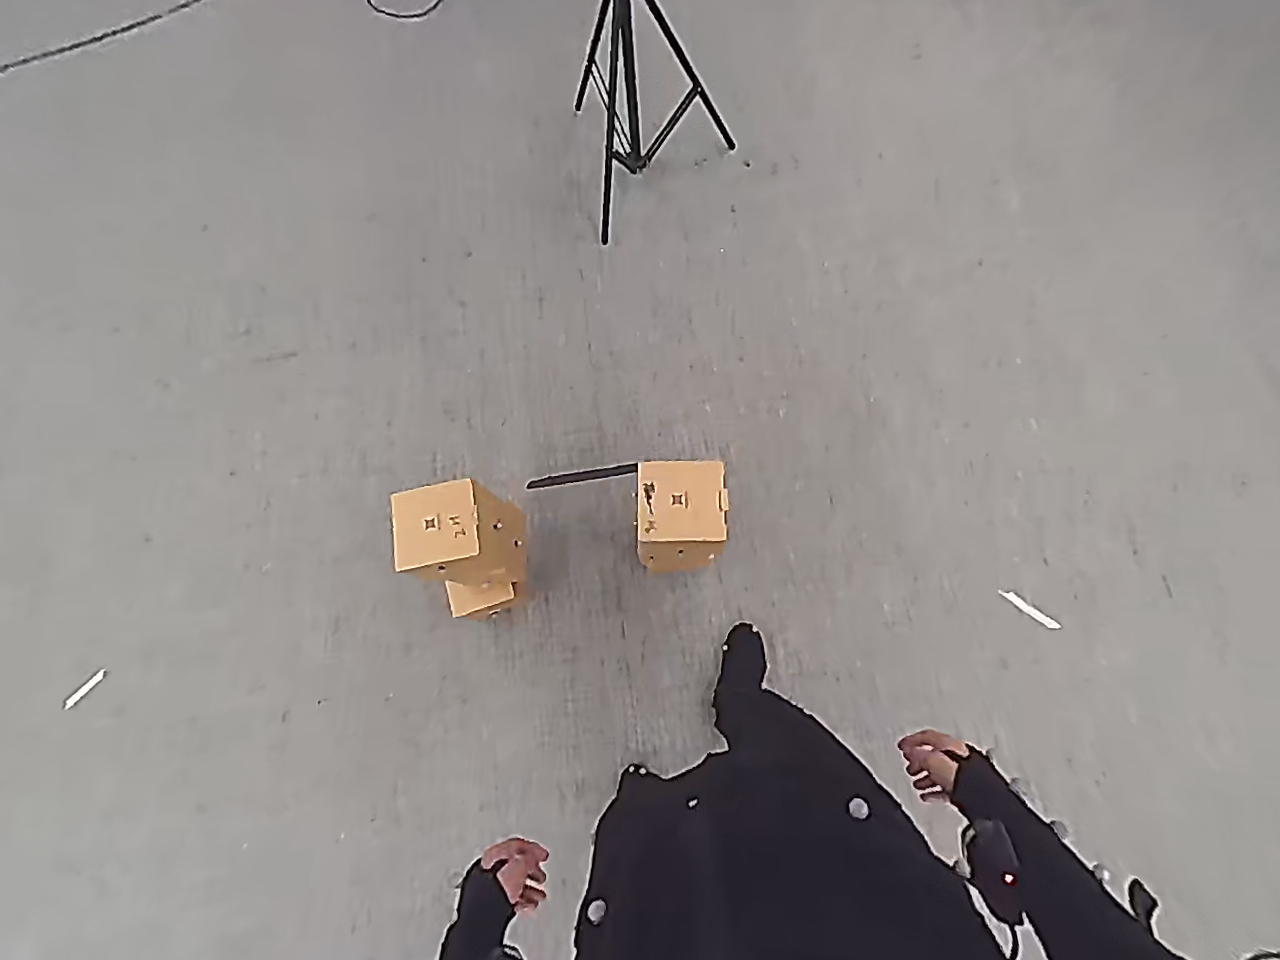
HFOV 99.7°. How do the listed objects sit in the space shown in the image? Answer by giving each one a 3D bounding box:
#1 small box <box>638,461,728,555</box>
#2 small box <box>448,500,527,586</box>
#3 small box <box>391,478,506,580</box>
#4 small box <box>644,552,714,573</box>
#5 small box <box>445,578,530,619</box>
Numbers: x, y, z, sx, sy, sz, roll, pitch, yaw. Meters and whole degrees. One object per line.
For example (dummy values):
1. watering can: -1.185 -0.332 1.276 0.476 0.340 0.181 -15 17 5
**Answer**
1. small box: 0.085 0.064 1.137 0.179 0.176 0.168 0 73 2
2. small box: -0.378 0.156 1.313 0.168 0.176 0.179 -5 73 4
3. small box: -0.405 0.111 1.157 0.179 0.176 0.168 -12 73 1
4. small box: 0.097 0.152 1.453 0.179 0.176 0.168 -8 73 1
5. small box: -0.411 0.266 1.453 0.168 0.176 0.179 -19 74 -1
